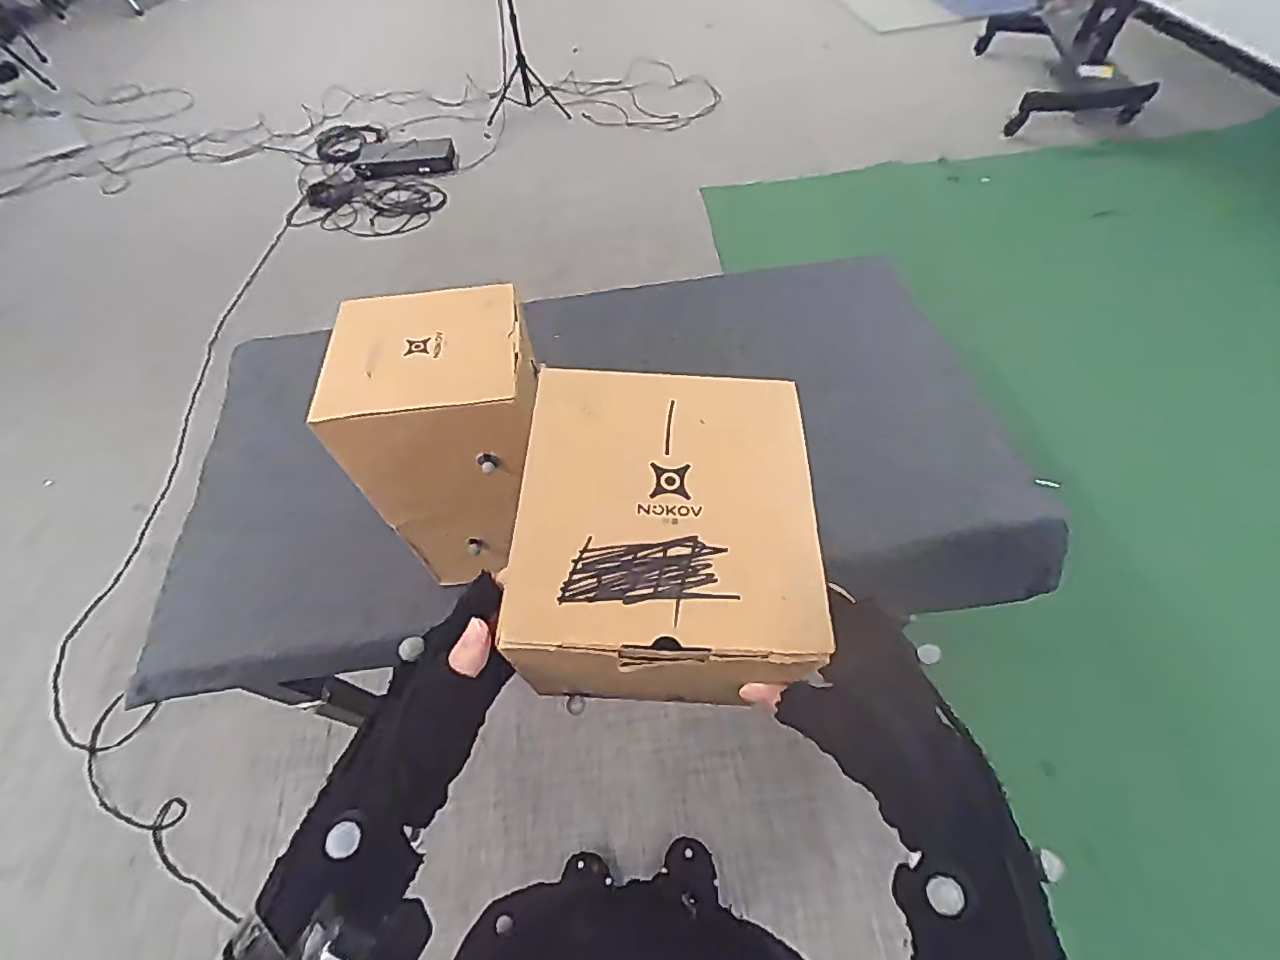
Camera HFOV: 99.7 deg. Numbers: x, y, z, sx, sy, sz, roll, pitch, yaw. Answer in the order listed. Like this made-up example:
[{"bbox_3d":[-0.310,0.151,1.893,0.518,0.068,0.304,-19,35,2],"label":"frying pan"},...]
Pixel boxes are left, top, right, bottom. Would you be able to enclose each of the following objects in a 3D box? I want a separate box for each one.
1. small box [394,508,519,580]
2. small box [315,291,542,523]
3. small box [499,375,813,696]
[{"bbox_3d":[-0.191,0.018,0.707,0.179,0.176,0.168,-7,55,-2],"label":"small box"},{"bbox_3d":[-0.196,-0.072,0.572,0.179,0.176,0.168,-8,54,-2],"label":"small box"},{"bbox_3d":[0.010,0.050,0.385,0.168,0.176,0.179,4,60,-1],"label":"small box"}]
